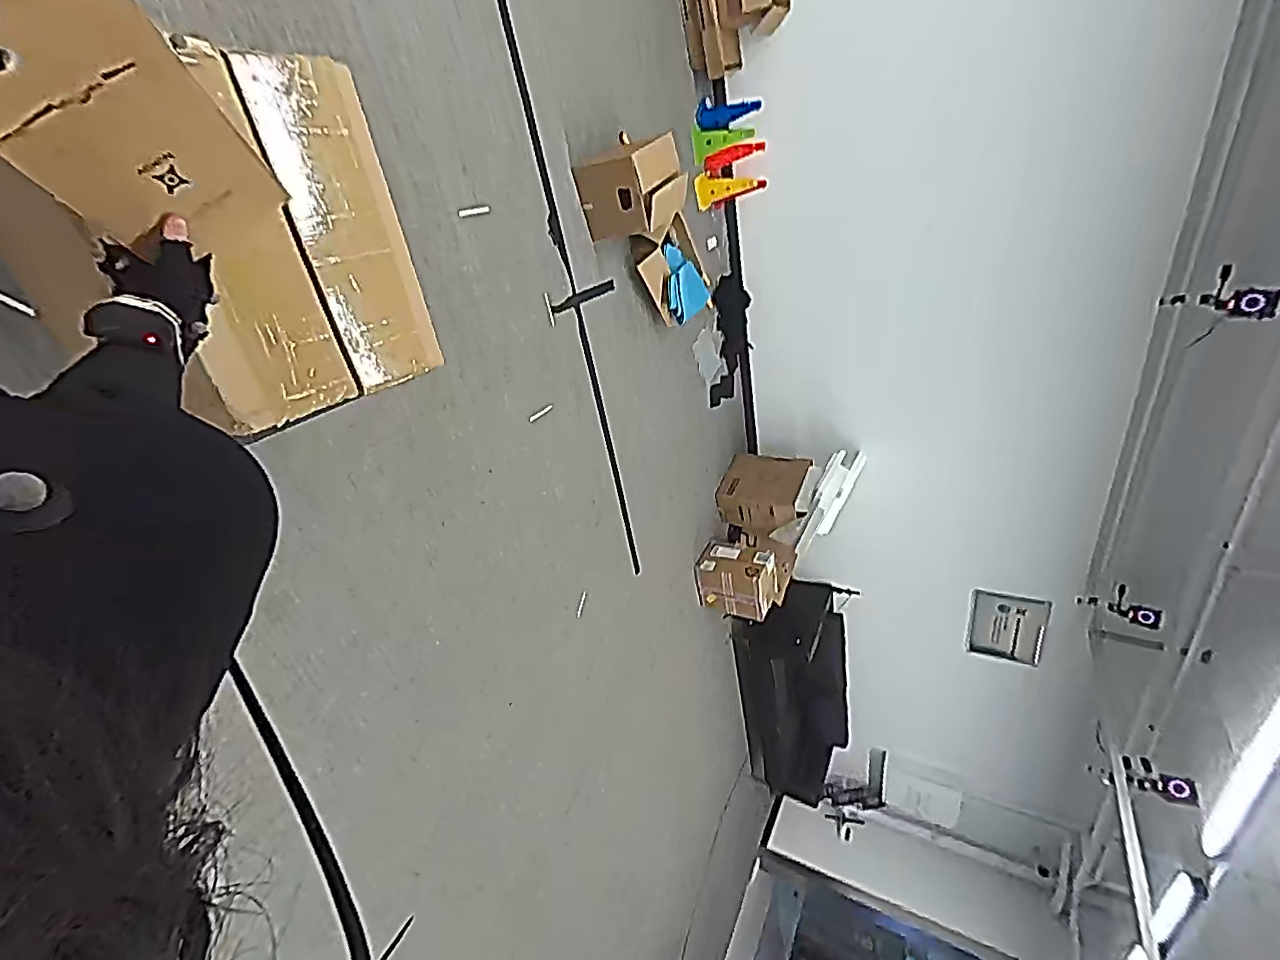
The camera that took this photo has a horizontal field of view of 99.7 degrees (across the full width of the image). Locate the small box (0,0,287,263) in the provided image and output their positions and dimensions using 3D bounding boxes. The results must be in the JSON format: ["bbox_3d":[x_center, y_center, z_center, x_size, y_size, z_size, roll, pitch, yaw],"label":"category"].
[{"bbox_3d":[-0.515,-0.366,0.535,0.168,0.176,0.179,-39,170,-9],"label":"small box"}]
